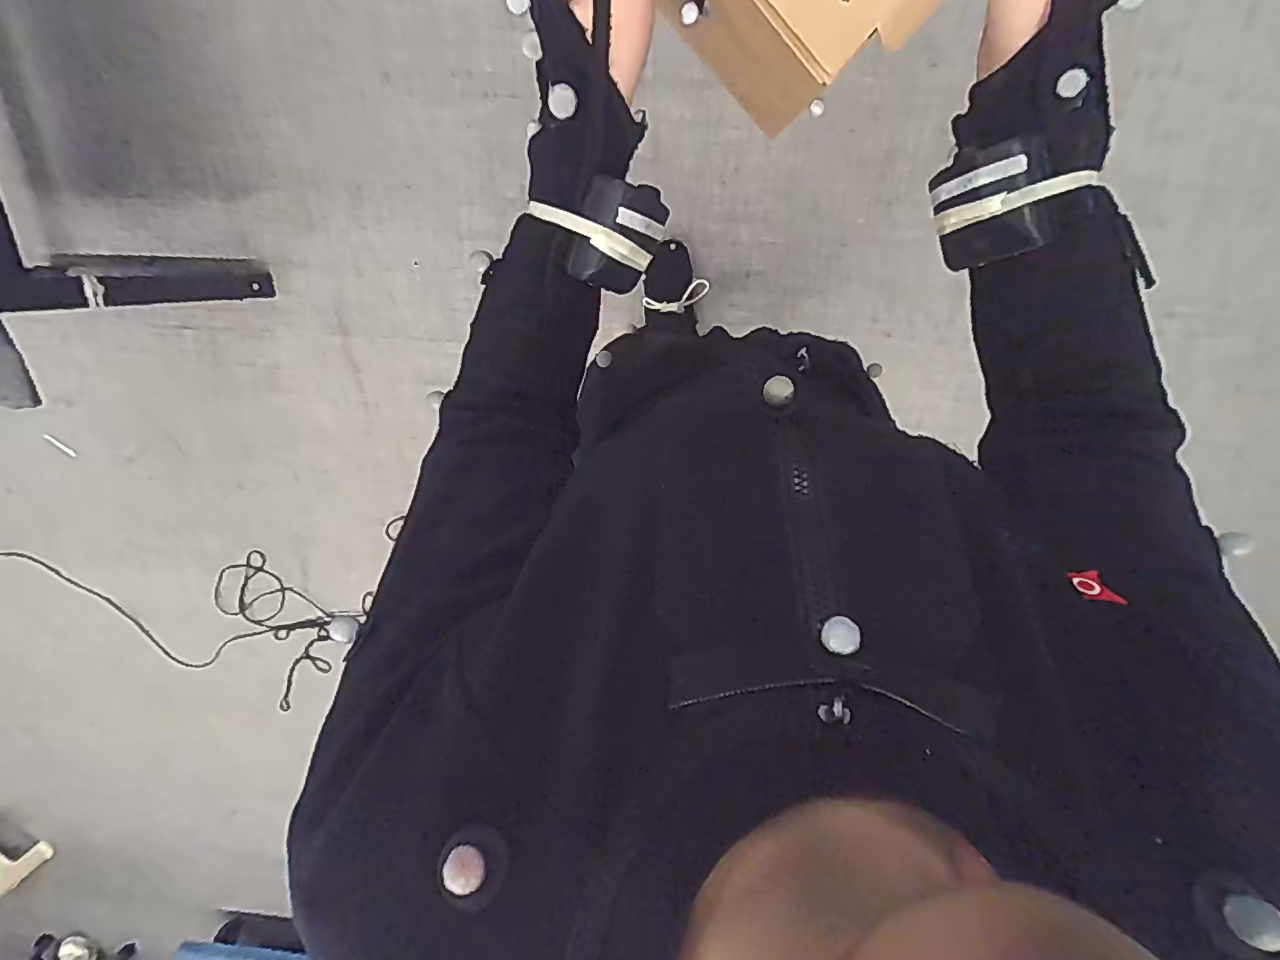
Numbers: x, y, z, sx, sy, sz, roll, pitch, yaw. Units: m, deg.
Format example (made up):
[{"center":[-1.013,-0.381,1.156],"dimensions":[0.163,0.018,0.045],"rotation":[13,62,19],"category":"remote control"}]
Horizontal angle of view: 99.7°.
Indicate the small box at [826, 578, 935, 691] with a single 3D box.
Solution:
[{"center":[0.545,0.354,1.257],"dimensions":[0.168,0.176,0.179],"rotation":[7,111,1],"category":"small box"}]
